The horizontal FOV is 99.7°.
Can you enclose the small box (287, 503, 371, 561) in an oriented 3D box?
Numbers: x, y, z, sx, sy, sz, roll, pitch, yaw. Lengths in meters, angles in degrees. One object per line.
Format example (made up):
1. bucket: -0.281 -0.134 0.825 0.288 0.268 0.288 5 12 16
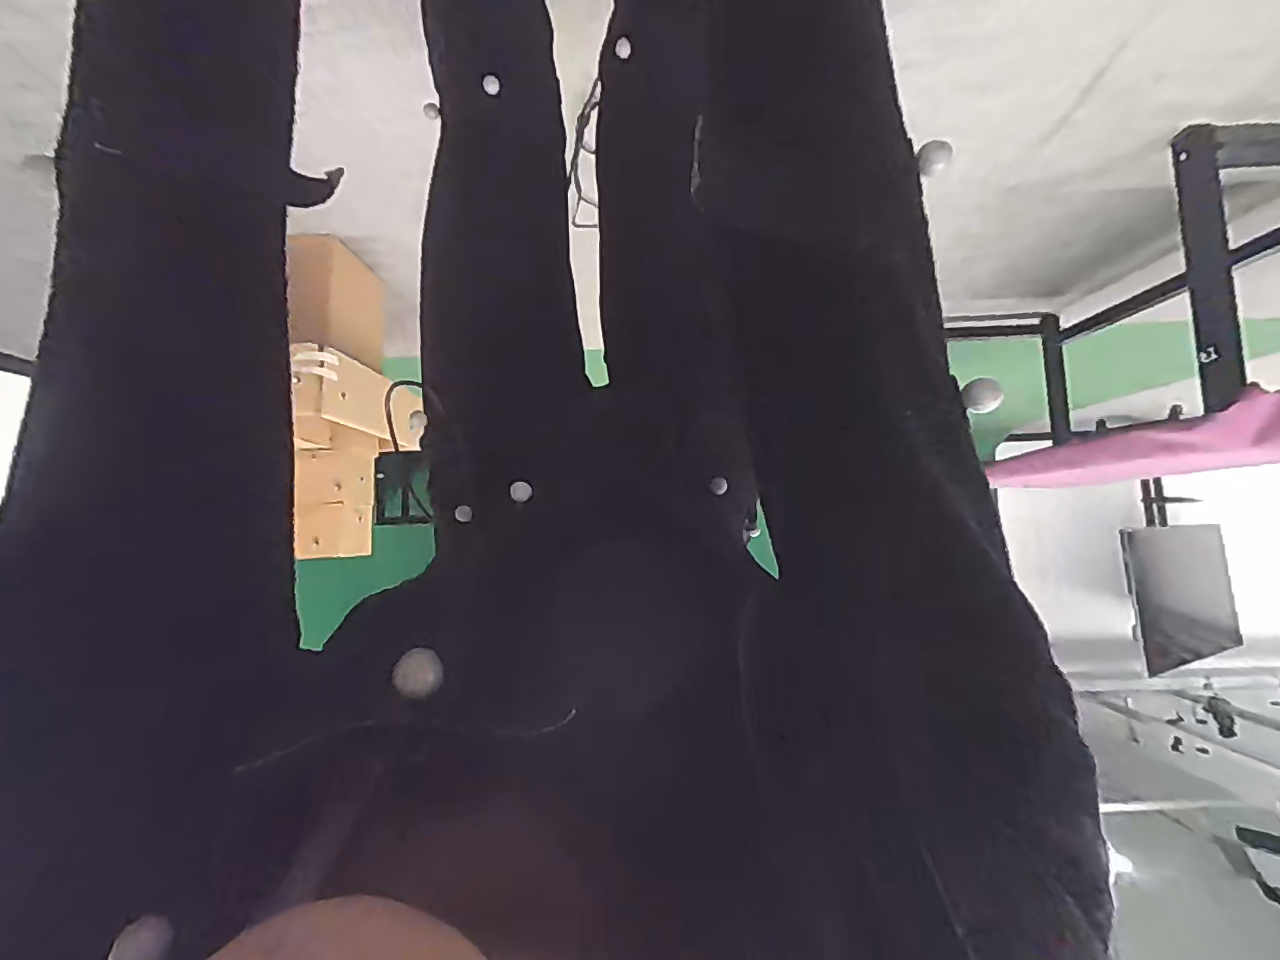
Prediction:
1. small box: -0.975 0.166 1.710 0.179 0.176 0.168 -3 174 3
